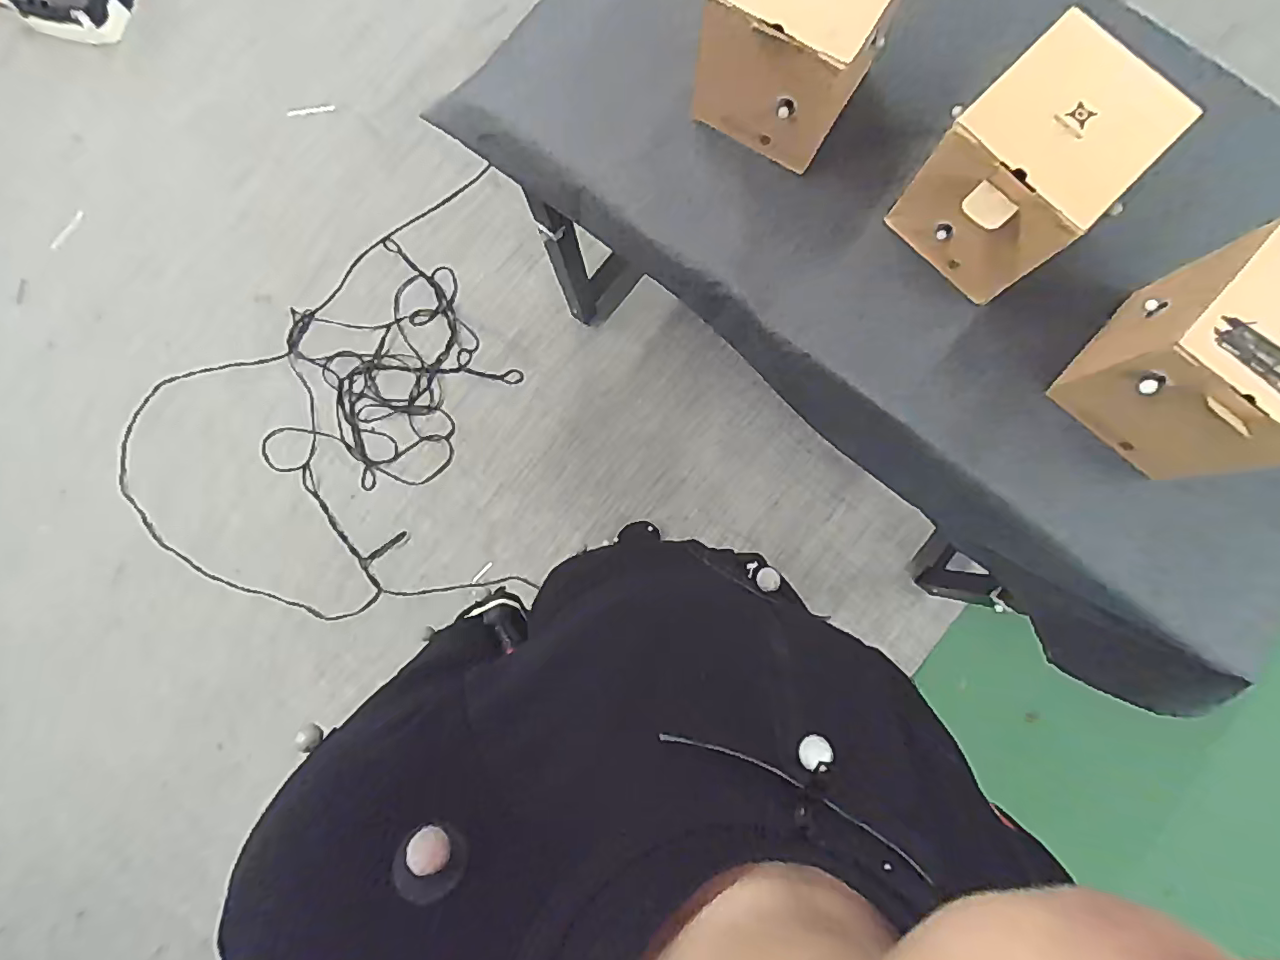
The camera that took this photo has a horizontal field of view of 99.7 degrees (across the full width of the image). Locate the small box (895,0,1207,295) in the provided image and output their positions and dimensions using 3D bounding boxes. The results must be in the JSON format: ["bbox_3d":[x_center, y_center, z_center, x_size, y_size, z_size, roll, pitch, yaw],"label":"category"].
[{"bbox_3d":[0.423,-0.344,0.592,0.179,0.176,0.168,-45,86,-3],"label":"small box"}]

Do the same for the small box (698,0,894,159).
[{"bbox_3d":[0.178,-0.515,0.612,0.168,0.176,0.179,31,85,2],"label":"small box"}]
